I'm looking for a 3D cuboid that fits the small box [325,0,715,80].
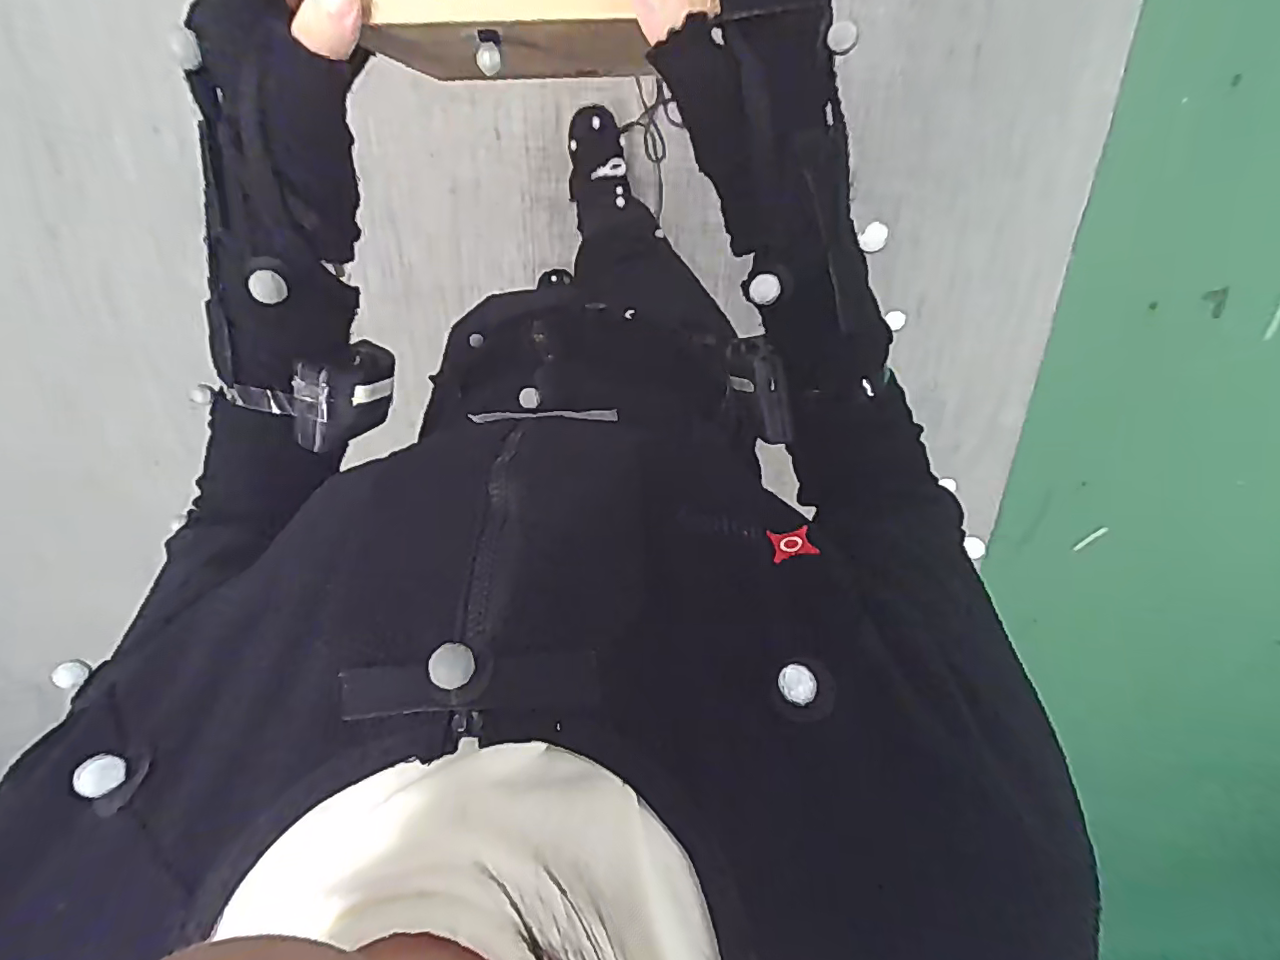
[{"bbox_3d":[-0.054,-0.306,0.249,0.168,0.176,0.179,-2,119,-1],"label":"small box"}]
